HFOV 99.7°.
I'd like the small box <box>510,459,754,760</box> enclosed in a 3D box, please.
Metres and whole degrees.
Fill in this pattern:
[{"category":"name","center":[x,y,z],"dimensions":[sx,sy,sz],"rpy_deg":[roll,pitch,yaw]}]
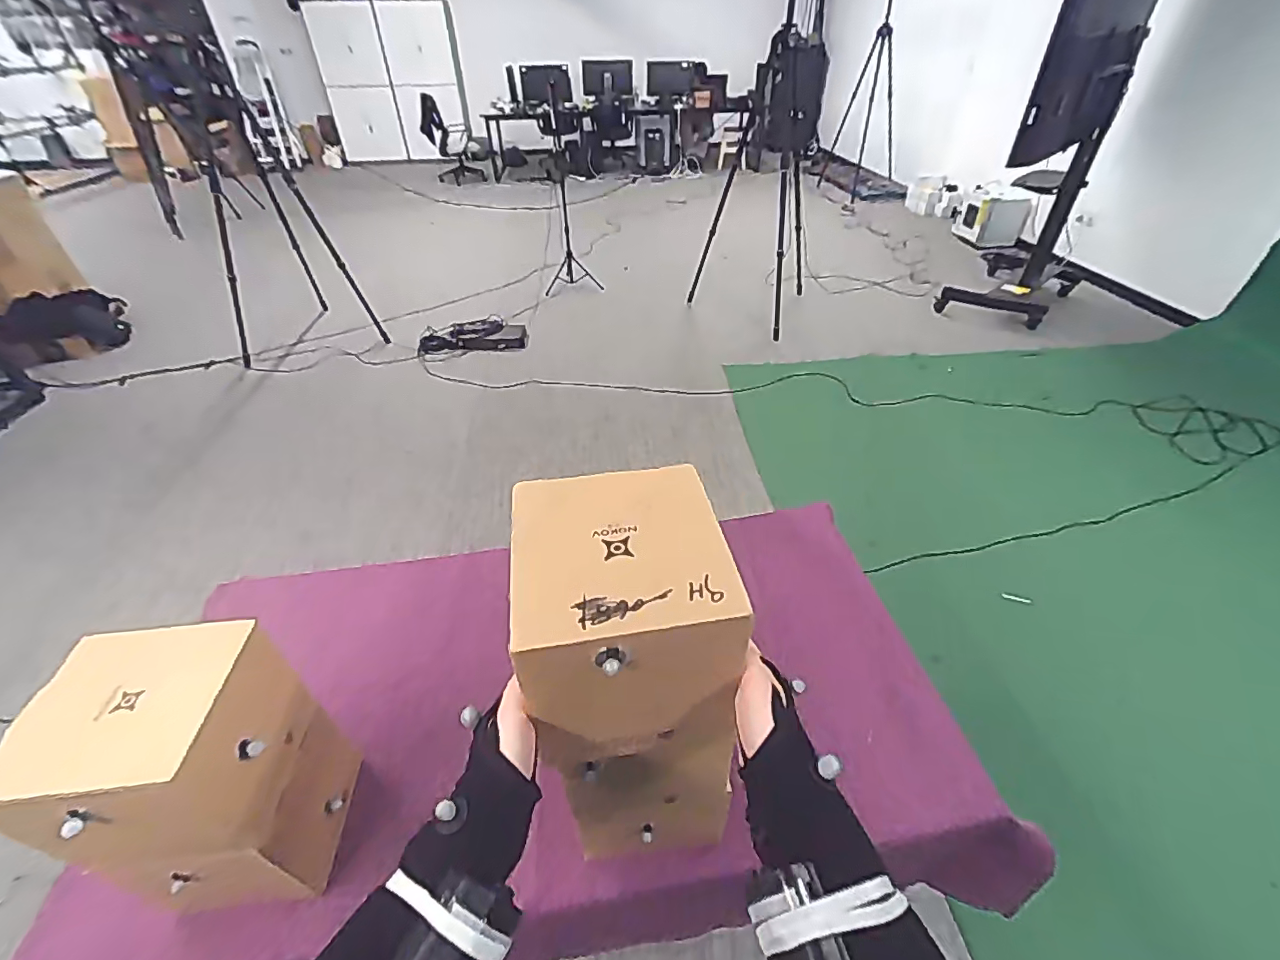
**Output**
[{"category":"small box","center":[-0.014,0.107,0.469],"dimensions":[0.168,0.176,0.179],"rpy_deg":[-8,39,-6]}]

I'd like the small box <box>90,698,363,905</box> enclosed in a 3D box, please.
[{"category":"small box","center":[-0.475,0.392,0.660],"dimensions":[0.179,0.176,0.168],"rpy_deg":[-5,41,-4]}]

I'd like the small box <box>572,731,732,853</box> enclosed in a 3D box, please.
[{"category":"small box","center":[0.008,0.350,0.692],"dimensions":[0.179,0.176,0.168],"rpy_deg":[-6,40,-3]}]

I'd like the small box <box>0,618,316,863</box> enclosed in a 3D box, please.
[{"category":"small box","center":[-0.474,0.266,0.556],"dimensions":[0.179,0.176,0.168],"rpy_deg":[-6,40,-3]}]
